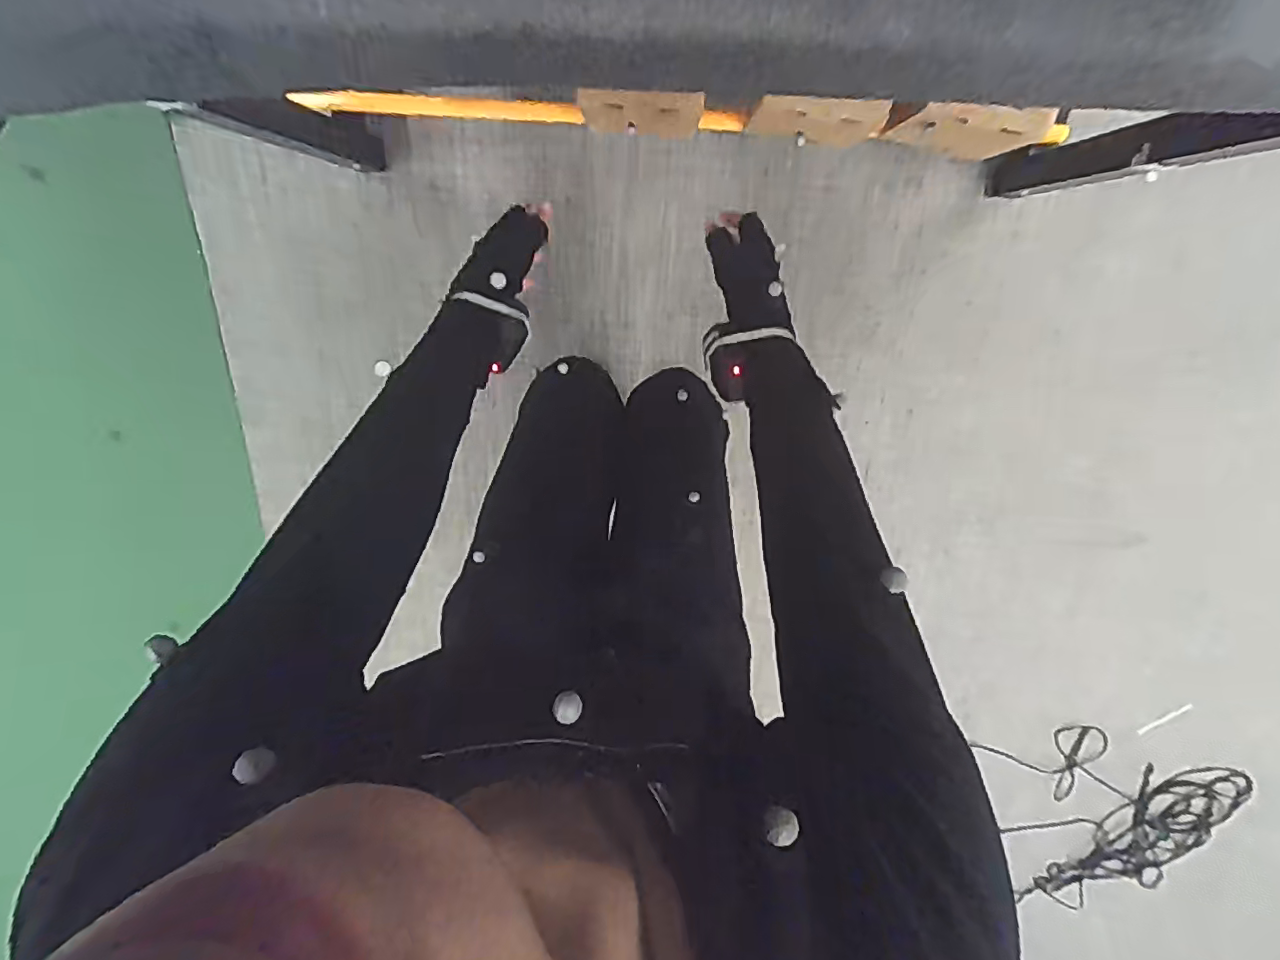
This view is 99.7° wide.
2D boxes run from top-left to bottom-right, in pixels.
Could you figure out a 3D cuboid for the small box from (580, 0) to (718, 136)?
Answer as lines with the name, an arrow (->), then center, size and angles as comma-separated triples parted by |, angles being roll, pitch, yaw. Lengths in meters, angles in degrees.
small box -> 0.011, -0.588, 0.732 | 0.168, 0.176, 0.179 | 4, 114, 0
